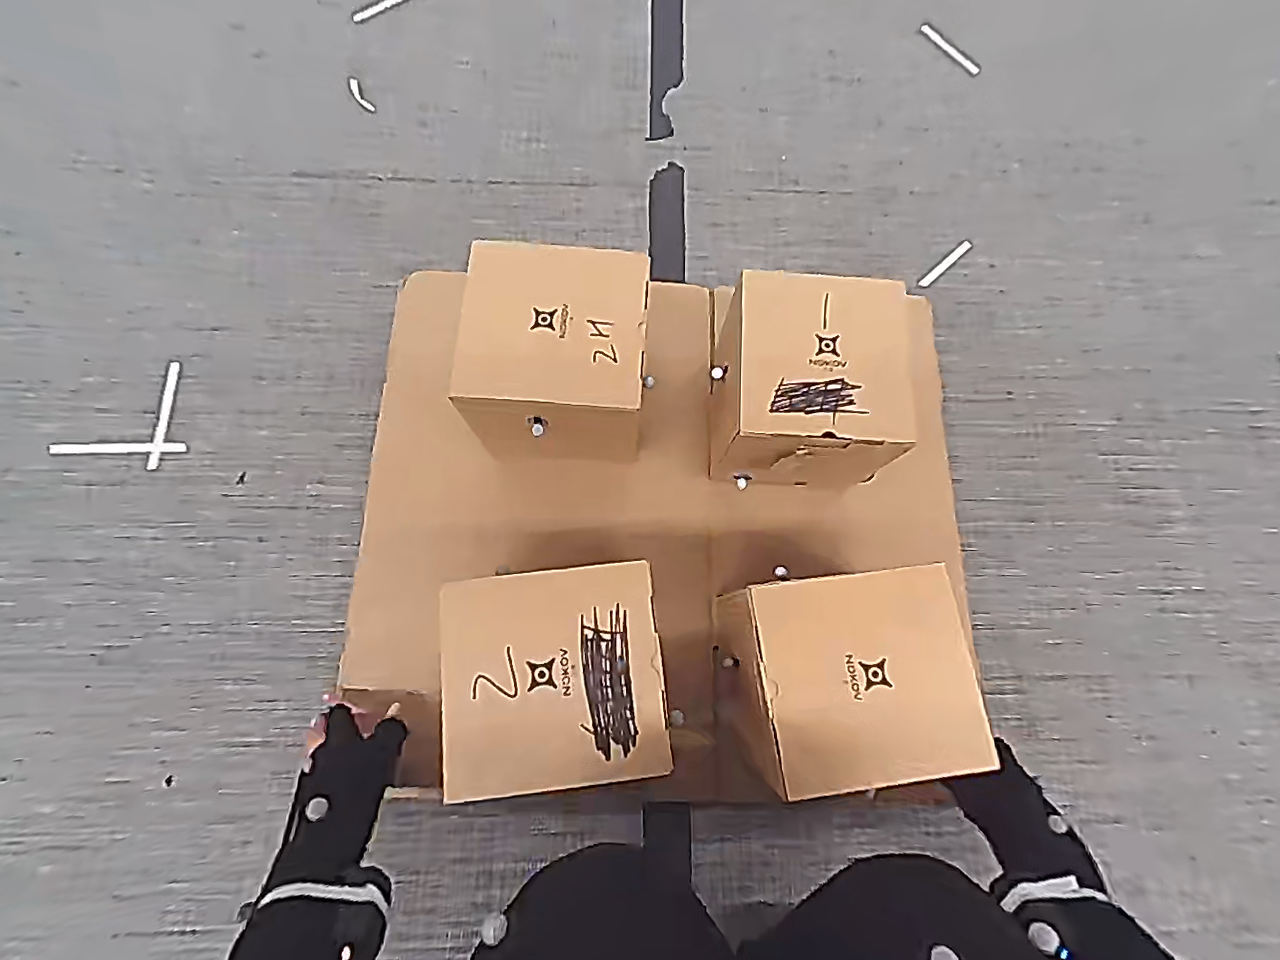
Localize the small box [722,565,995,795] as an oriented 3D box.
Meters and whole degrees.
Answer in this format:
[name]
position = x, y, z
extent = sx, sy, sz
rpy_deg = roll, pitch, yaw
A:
[small box]
position = 0.189, 0.181, 0.526
extent = 0.179, 0.176, 0.168
rpy_deg = -7, 75, -3
